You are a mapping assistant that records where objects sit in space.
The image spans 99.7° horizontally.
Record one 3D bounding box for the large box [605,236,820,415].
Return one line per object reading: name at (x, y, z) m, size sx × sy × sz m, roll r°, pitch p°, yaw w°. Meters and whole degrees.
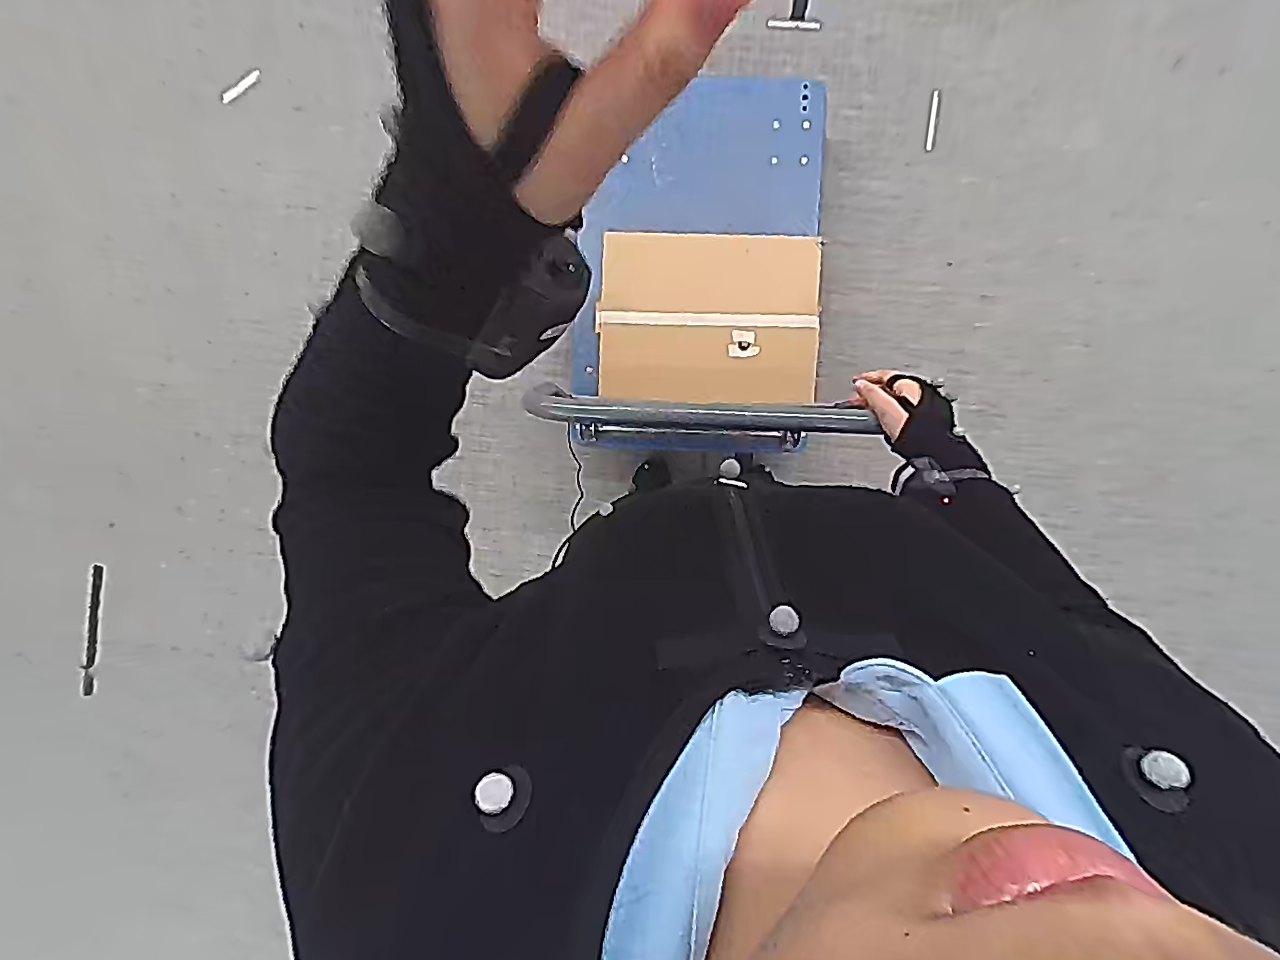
large box at (0.135, -0.307, 1.163) m, size 0.408 × 0.320 × 0.320 m, roll 2°, pitch 94°, yaw 1°
